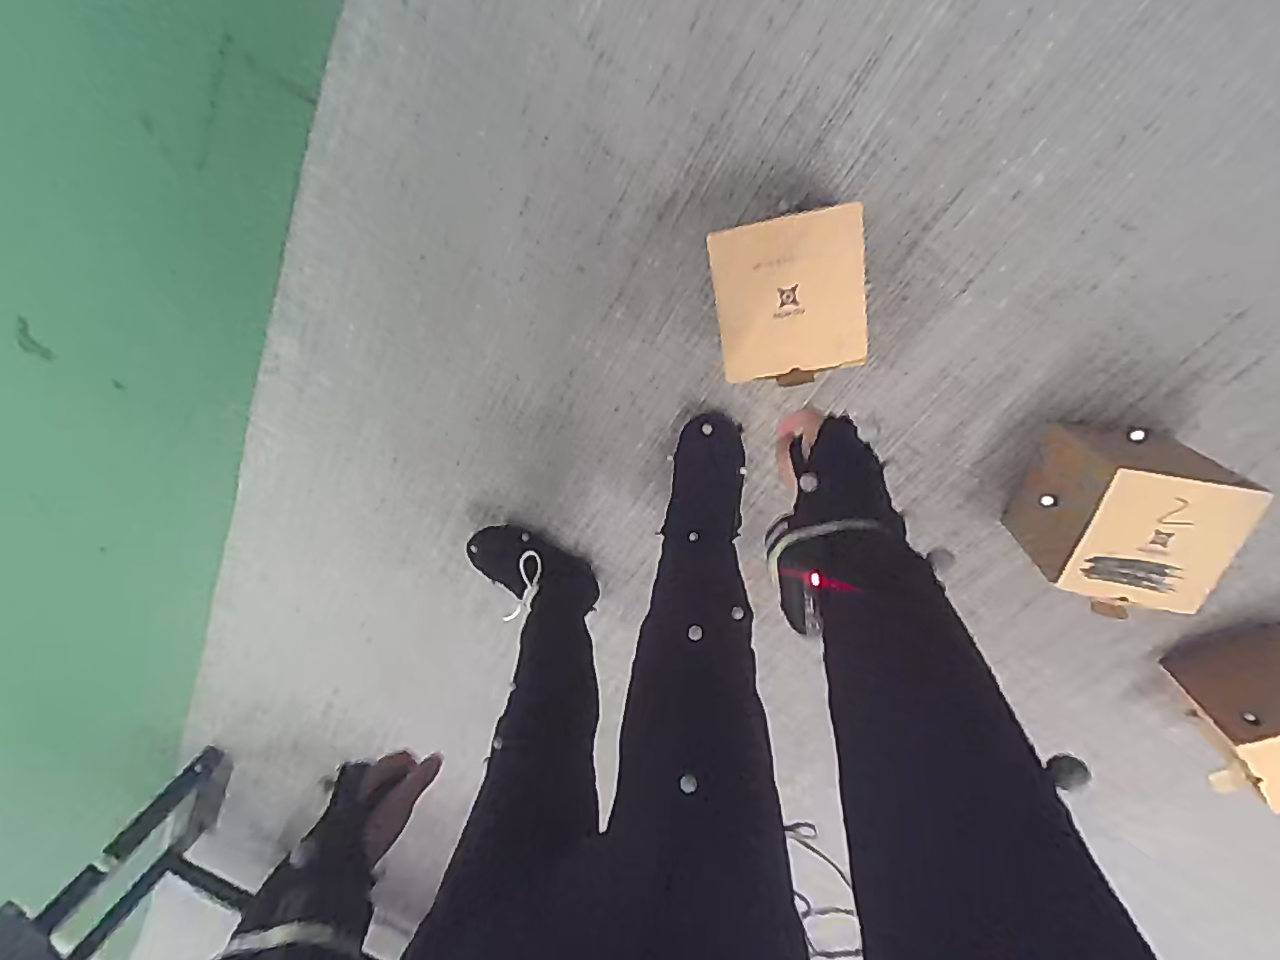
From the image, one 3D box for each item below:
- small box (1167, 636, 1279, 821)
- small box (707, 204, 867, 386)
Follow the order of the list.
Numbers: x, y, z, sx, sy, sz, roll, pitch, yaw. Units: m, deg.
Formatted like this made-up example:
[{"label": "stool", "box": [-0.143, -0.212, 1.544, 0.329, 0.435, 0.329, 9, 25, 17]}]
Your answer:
[{"label": "small box", "box": [0.962, 0.361, 0.804, 0.179, 0.176, 0.168, -33, 106, 25]}, {"label": "small box", "box": [0.183, -0.234, 0.679, 0.168, 0.176, 0.179, -7, 113, 14]}]
